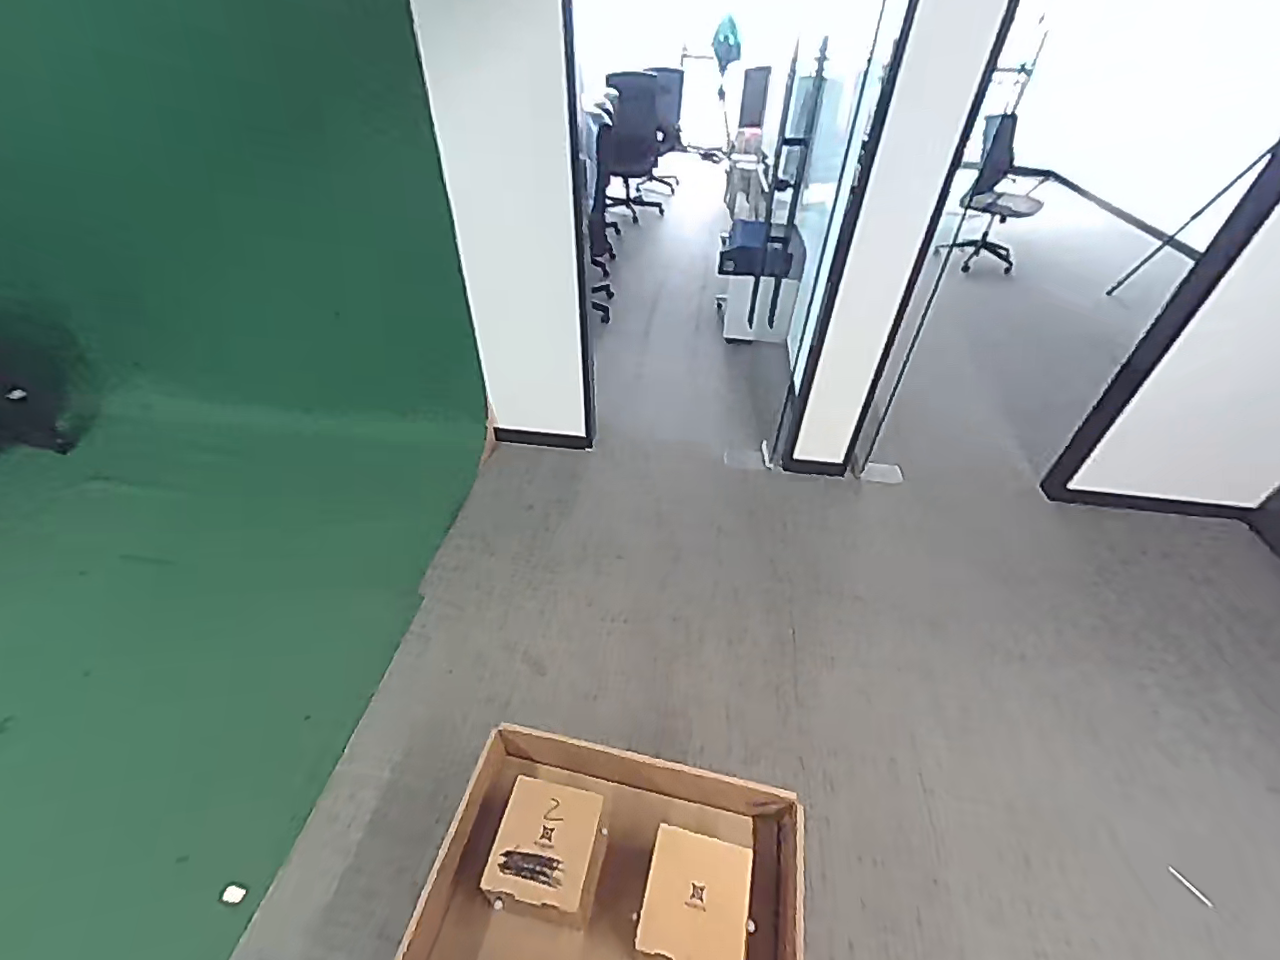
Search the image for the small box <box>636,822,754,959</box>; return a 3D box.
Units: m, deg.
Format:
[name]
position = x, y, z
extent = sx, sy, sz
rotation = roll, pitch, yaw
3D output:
[small box]
position = 0.090, 0.722, 0.915
extent = 0.168, 0.176, 0.179
rotation = 10, 44, 10
